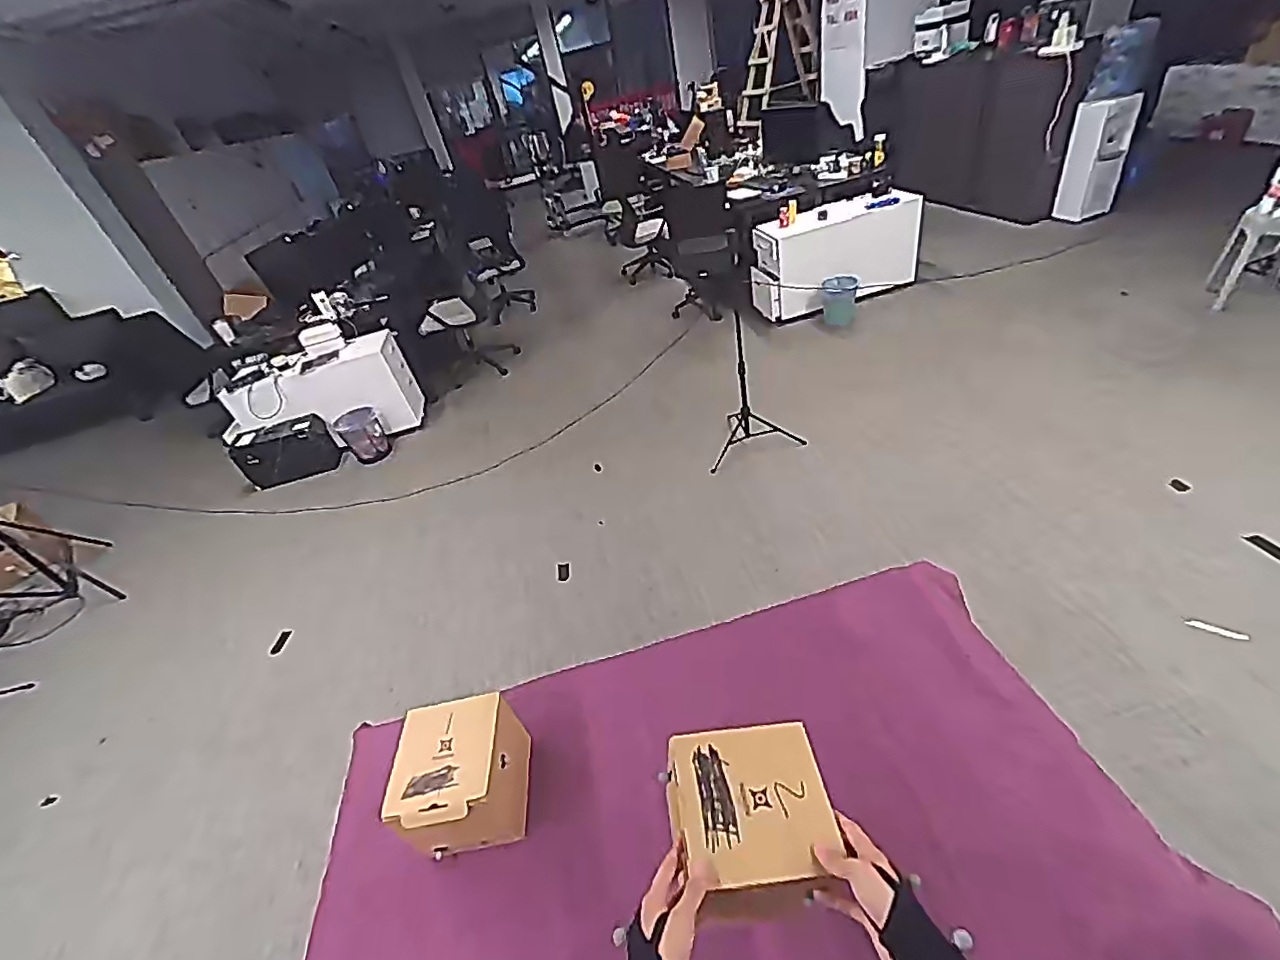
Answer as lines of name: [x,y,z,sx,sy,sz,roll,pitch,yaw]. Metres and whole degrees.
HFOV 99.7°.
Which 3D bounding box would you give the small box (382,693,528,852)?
small box: [-0.293,0.492,0.901,0.168,0.176,0.179,-13,37,2]
